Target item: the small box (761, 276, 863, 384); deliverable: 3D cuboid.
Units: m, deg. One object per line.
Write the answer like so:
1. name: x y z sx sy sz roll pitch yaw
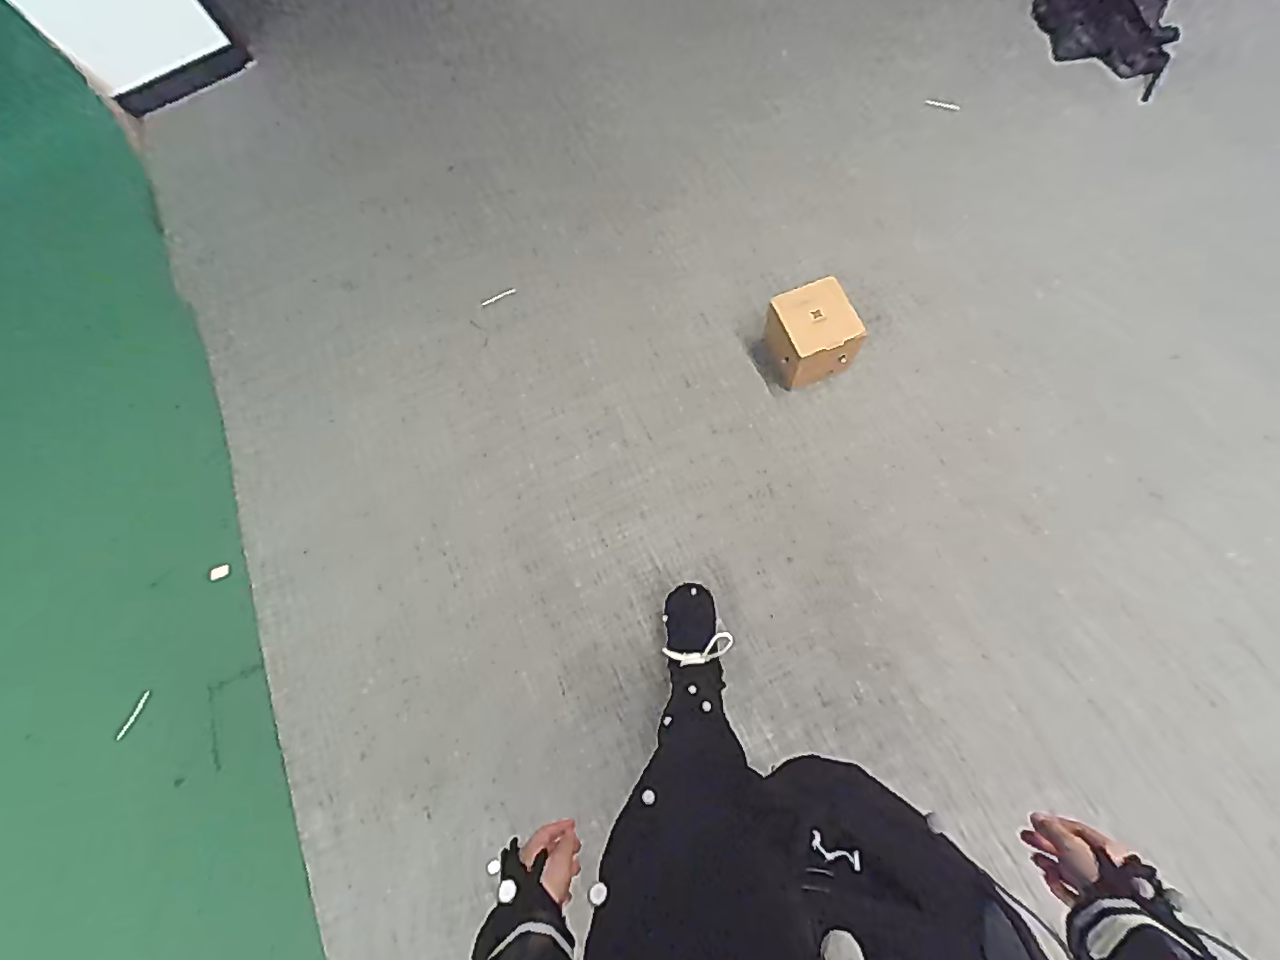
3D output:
1. small box: 0.411 -0.355 1.324 0.168 0.176 0.179 -21 71 -2
